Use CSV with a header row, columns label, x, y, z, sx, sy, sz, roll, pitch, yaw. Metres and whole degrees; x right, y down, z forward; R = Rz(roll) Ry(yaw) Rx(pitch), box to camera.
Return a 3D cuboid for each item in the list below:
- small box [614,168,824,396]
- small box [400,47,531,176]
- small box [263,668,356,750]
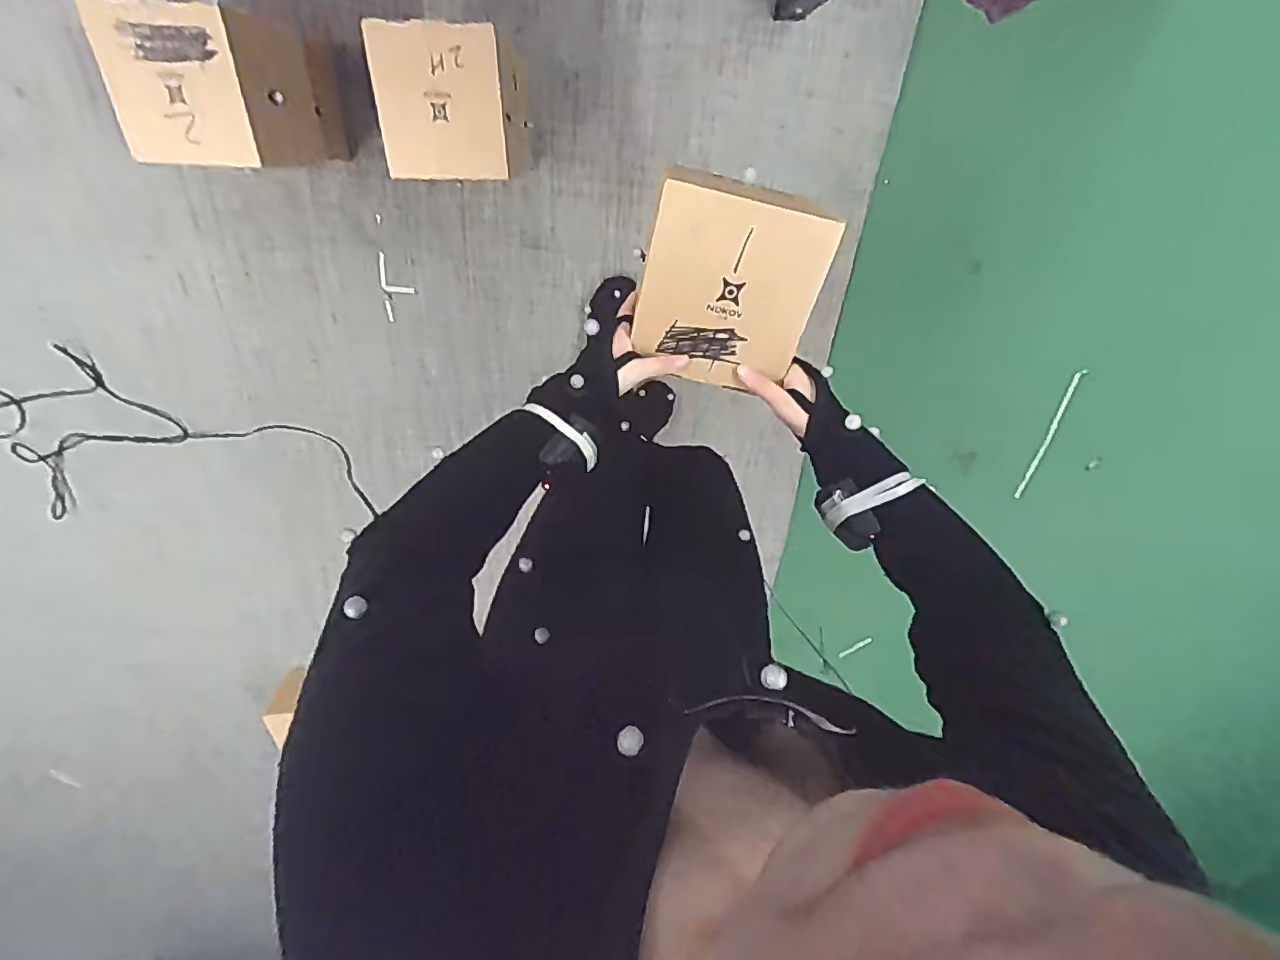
label,x,y,z,sx,sy,sz,roll,pitch,yaw
small box,0.074,-0.220,0.591,0.168,0.176,0.179,11,124,-6
small box,-0.289,-0.626,0.938,0.179,0.176,0.168,0,120,-5
small box,-0.988,0.689,1.639,0.179,0.176,0.168,-1,119,-3
